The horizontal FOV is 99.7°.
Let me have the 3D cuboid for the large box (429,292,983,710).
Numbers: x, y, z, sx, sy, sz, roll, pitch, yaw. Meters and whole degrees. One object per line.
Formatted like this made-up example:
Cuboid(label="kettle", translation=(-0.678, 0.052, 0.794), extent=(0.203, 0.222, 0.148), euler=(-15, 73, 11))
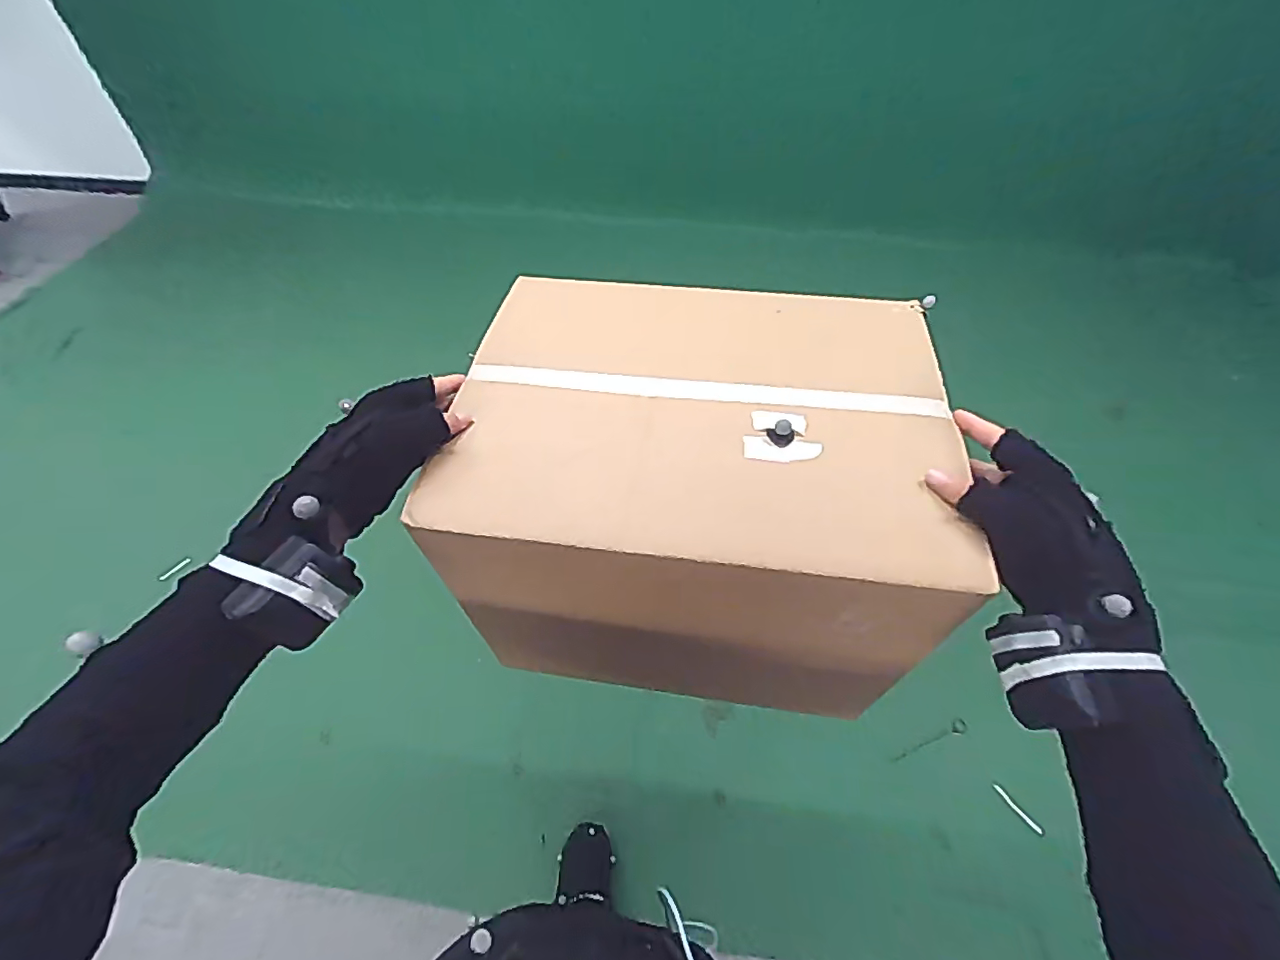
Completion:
Cuboid(label="large box", translation=(0.057, 0.027, 0.589), extent=(0.408, 0.320, 0.320), euler=(6, 53, 5))
